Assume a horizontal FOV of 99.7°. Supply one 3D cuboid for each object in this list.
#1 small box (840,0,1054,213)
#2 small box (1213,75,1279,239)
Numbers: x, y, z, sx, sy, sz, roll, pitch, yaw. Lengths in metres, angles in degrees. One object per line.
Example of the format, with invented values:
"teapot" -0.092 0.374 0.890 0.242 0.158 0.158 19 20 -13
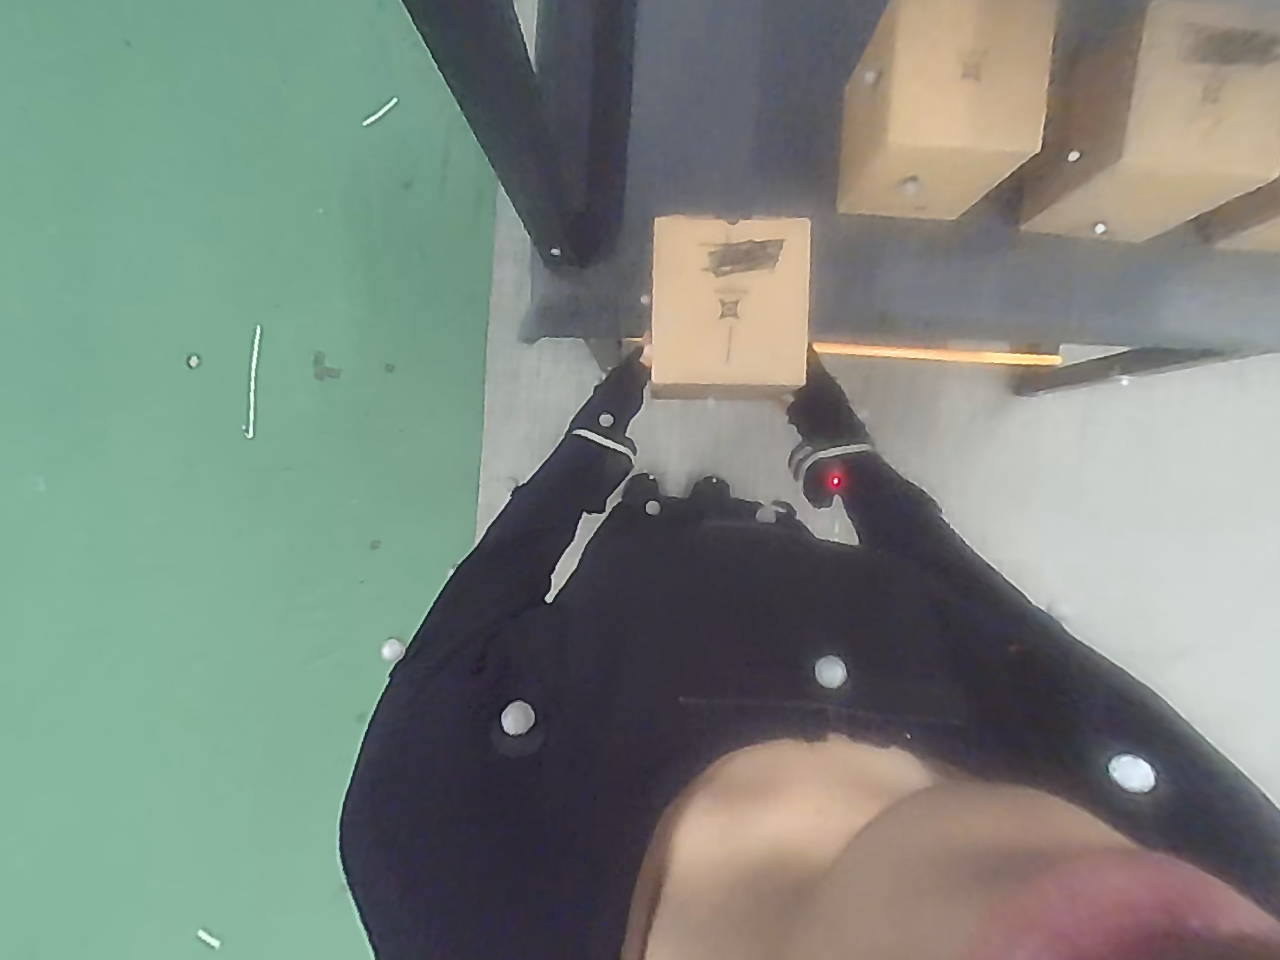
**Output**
"small box" 0.355 -0.450 0.659 0.168 0.176 0.179 4 91 2
"small box" 0.846 -0.399 0.640 0.168 0.176 0.179 3 90 2
